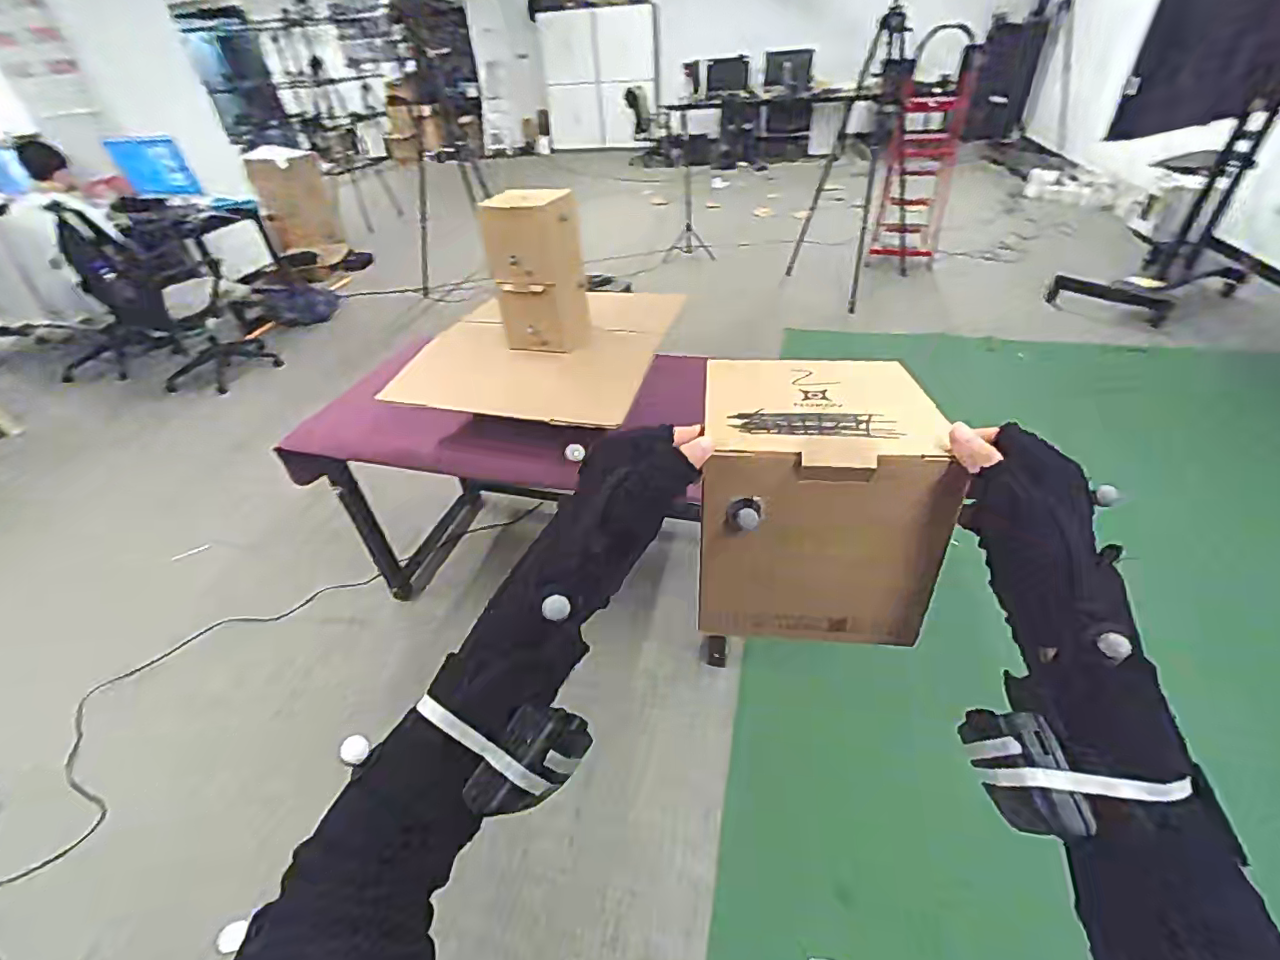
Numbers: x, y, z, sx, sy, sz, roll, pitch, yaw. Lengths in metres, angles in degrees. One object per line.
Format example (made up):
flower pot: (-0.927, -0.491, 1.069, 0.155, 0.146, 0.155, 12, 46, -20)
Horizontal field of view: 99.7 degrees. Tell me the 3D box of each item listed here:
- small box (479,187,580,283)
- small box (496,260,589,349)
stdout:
small box: (-0.248, -0.577, 1.268, 0.168, 0.176, 0.179, 8, 40, 15)
small box: (-0.236, -0.449, 1.369, 0.168, 0.176, 0.179, 7, 40, 16)
